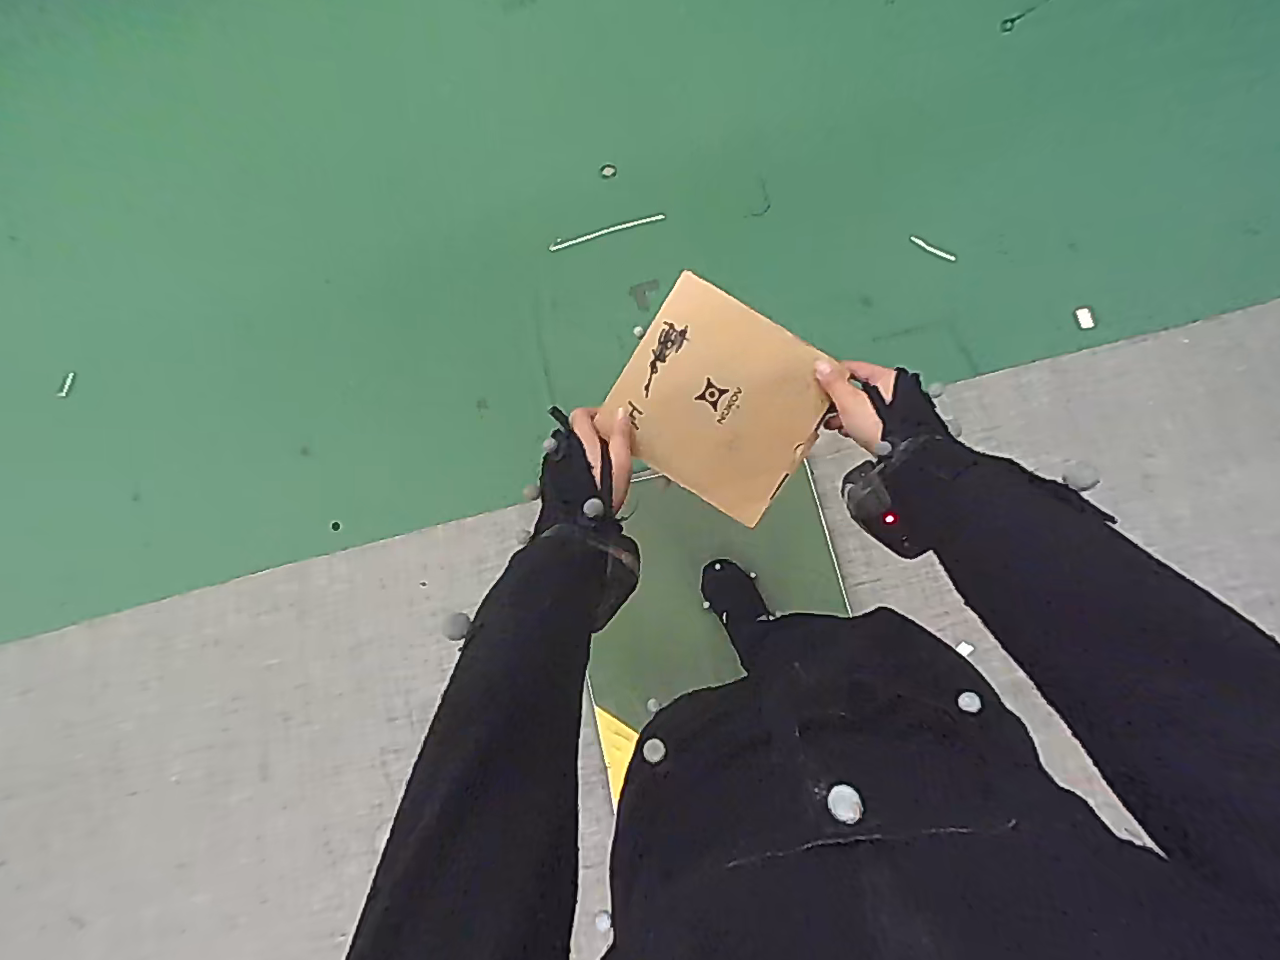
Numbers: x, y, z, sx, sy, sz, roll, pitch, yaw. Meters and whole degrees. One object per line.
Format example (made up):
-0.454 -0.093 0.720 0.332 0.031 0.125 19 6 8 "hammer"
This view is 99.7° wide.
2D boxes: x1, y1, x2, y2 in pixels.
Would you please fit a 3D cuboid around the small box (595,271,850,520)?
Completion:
0.076 -0.080 0.566 0.179 0.176 0.168 32 92 0 "small box"
